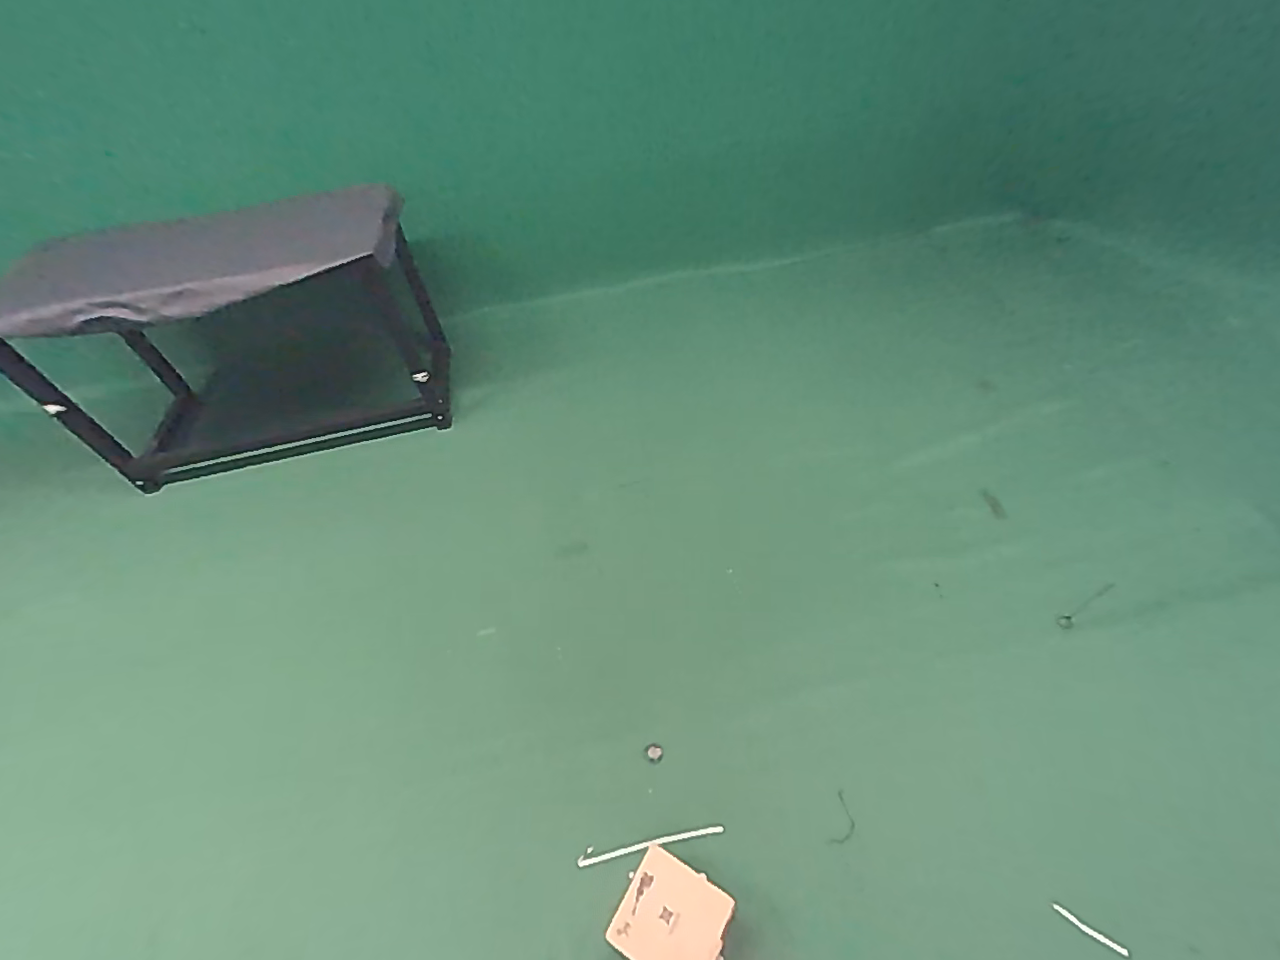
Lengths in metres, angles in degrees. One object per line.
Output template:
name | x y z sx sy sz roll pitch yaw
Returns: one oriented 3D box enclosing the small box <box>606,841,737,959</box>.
small box | 0.063 0.812 0.997 0.179 0.176 0.168 22 53 25
